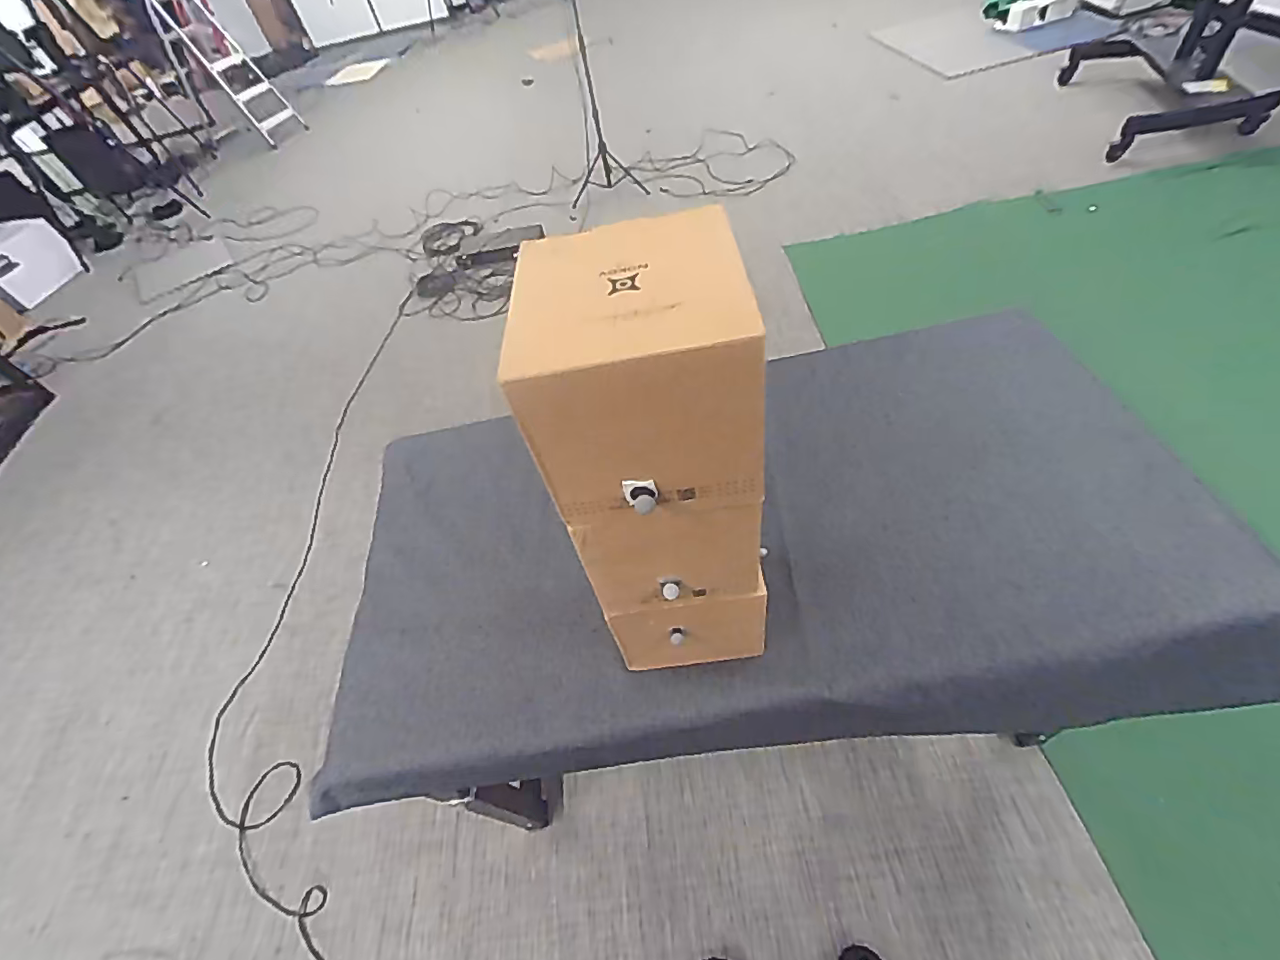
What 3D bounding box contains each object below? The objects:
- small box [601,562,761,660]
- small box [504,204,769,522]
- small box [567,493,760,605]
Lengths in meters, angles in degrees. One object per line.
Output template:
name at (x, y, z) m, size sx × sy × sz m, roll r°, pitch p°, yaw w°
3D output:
small box at (0.054, 0.117, 0.688) m, size 0.179 × 0.176 × 0.168 m, roll -8°, pitch 51°, yaw 5°
small box at (0.005, -0.089, 0.440) m, size 0.168 × 0.176 × 0.179 m, roll -9°, pitch 51°, yaw 6°
small box at (0.026, 0.009, 0.566) m, size 0.168 × 0.176 × 0.179 m, roll -8°, pitch 51°, yaw 5°
